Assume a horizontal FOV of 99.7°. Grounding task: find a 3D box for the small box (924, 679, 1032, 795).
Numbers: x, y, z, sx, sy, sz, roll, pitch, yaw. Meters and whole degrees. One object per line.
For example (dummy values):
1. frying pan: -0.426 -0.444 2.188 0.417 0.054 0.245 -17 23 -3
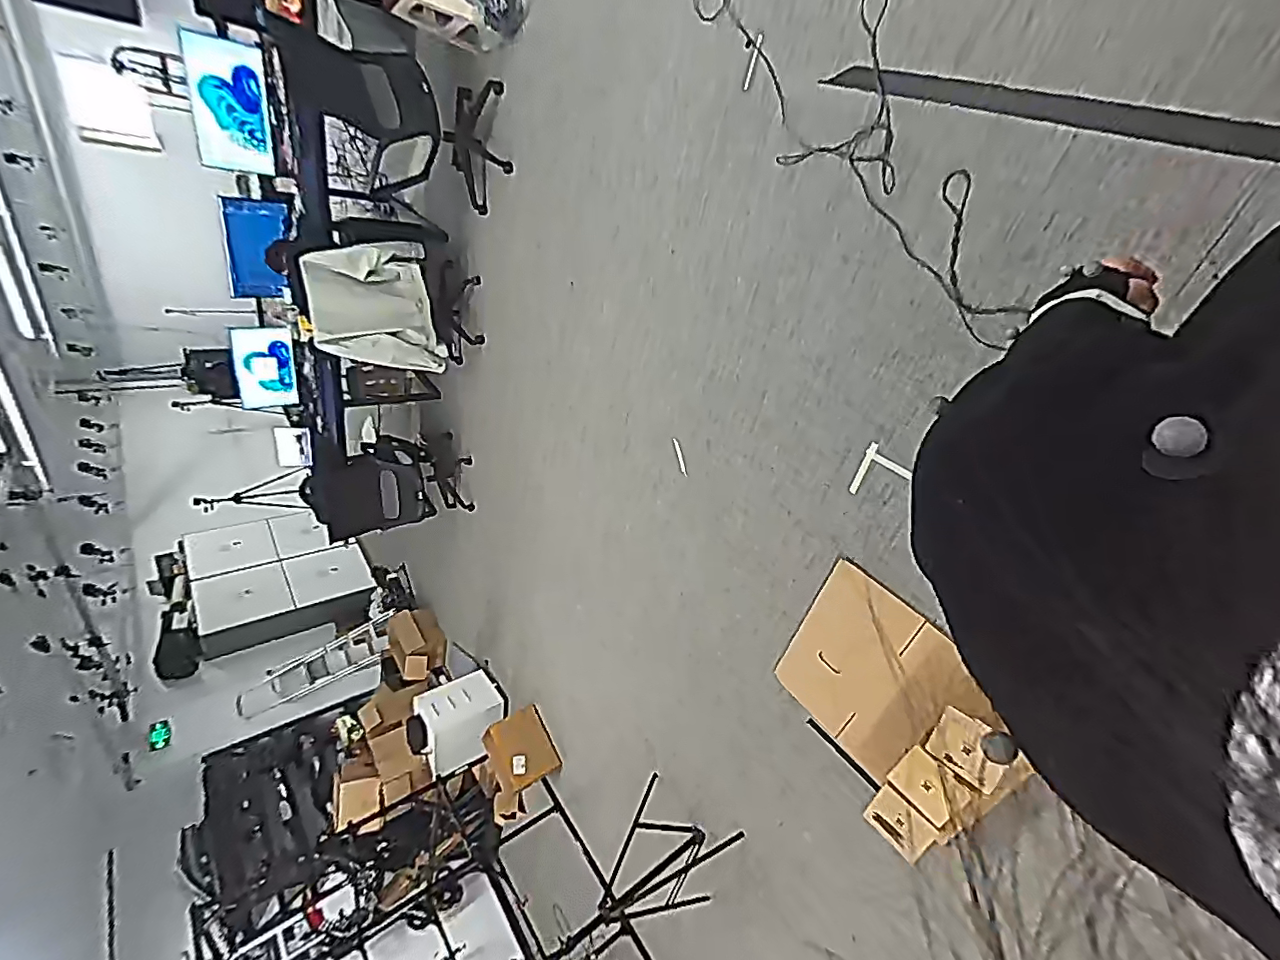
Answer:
1. small box: 0.877 0.653 1.398 0.168 0.176 0.179 33 124 40
